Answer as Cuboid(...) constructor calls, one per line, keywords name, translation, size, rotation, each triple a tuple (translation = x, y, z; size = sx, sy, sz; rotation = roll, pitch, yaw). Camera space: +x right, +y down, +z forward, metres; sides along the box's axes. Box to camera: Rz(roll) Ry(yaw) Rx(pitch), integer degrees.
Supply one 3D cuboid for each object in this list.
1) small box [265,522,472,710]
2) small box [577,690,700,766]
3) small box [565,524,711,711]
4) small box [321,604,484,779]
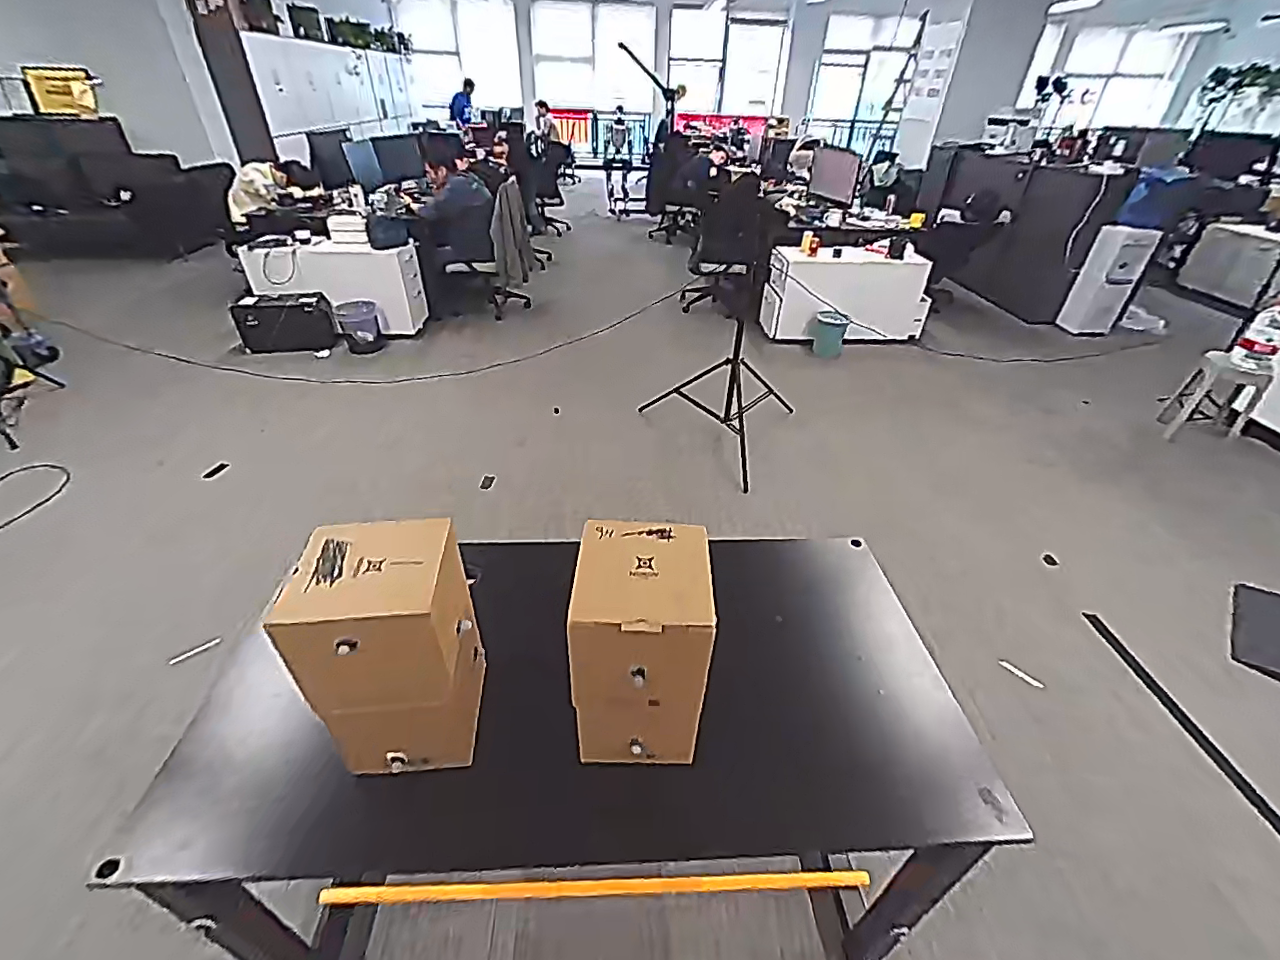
Cuboid(name="small box", translation=(-0.328, 0.174, 0.696), size=(0.179, 0.176, 0.168), rotation=(-3, 36, -7))
Cuboid(name="small box", translation=(-0.004, 0.300, 0.816), size=(0.168, 0.176, 0.179), rotation=(1, 36, -1))
Cuboid(name="small box", translation=(0.001, 0.178, 0.705), size=(0.168, 0.176, 0.179), rotation=(2, 36, 1))
Cuboid(name="small box", translation=(-0.330, 0.306, 0.795), size=(0.168, 0.176, 0.179), rotation=(-4, 37, -6))
